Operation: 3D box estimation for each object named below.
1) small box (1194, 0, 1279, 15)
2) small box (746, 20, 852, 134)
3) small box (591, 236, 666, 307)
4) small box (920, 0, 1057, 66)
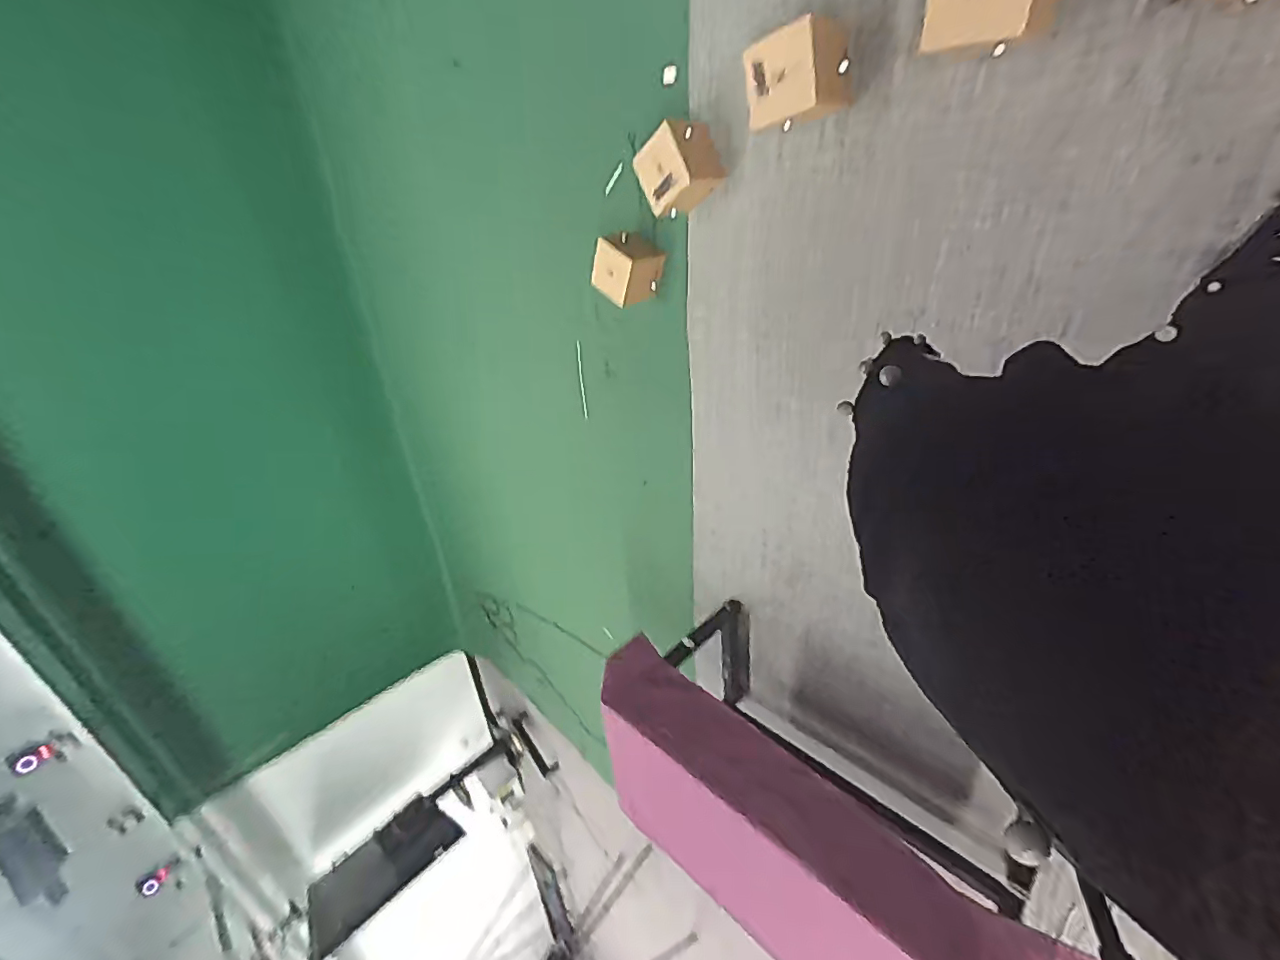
[{"bbox_3d":[0.910,-0.761,0.739,0.179,0.176,0.168,30,133,36],"label":"small box"},{"bbox_3d":[0.374,-0.928,1.267,0.179,0.176,0.168,10,119,45],"label":"small box"},{"bbox_3d":[-0.041,-0.730,1.880,0.179,0.176,0.168,45,140,23],"label":"small box"},{"bbox_3d":[0.646,-0.872,0.981,0.179,0.176,0.168,25,128,39],"label":"small box"}]
